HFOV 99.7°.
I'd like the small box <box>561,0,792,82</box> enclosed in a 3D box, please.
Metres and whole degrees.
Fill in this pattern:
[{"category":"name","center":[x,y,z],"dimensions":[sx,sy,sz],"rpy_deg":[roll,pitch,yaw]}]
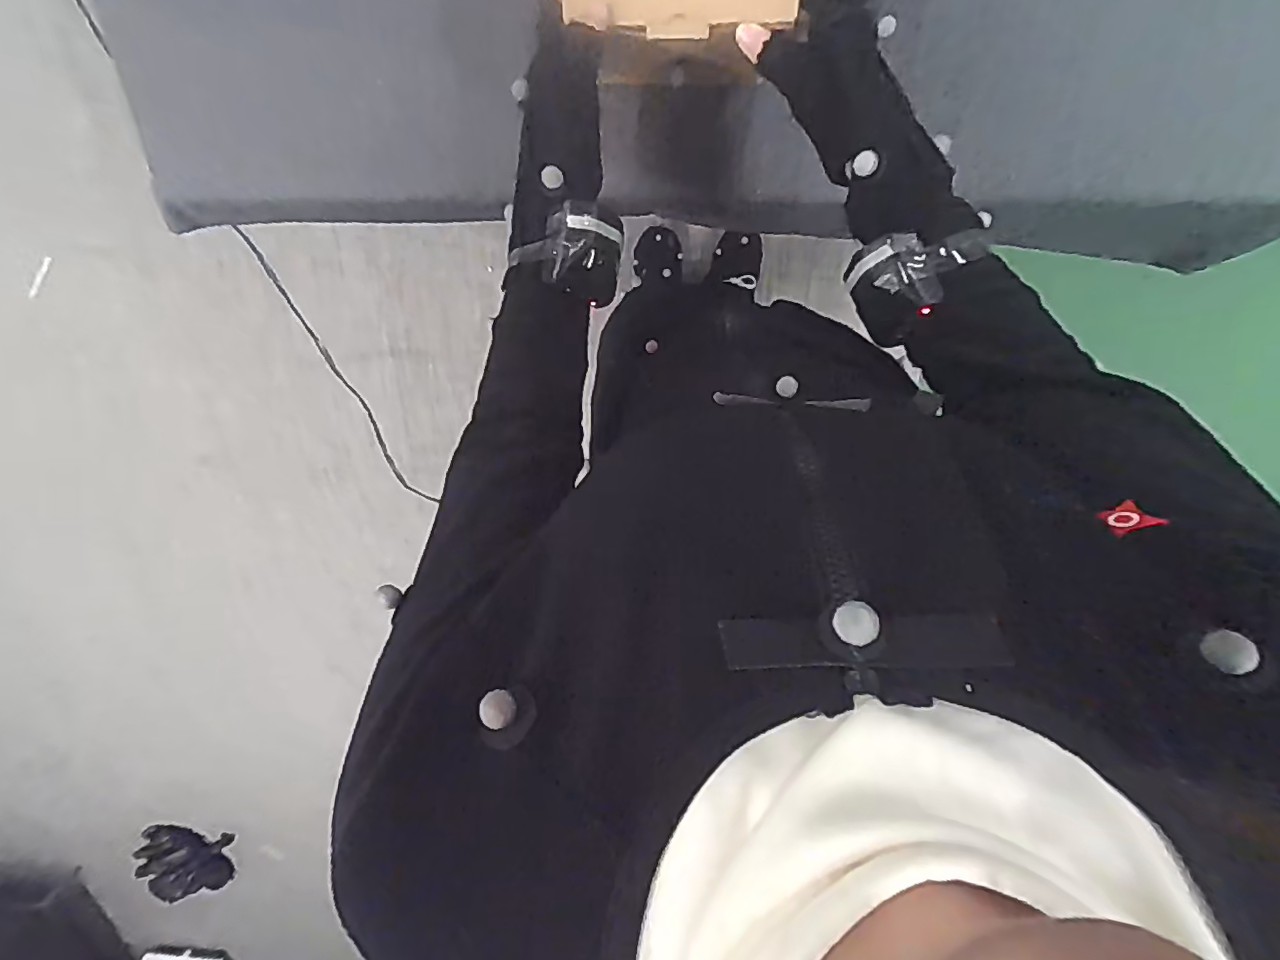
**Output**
[{"category":"small box","center":[0.032,-0.428,0.419],"dimensions":[0.168,0.176,0.179],"rpy_deg":[2,117,3]}]
